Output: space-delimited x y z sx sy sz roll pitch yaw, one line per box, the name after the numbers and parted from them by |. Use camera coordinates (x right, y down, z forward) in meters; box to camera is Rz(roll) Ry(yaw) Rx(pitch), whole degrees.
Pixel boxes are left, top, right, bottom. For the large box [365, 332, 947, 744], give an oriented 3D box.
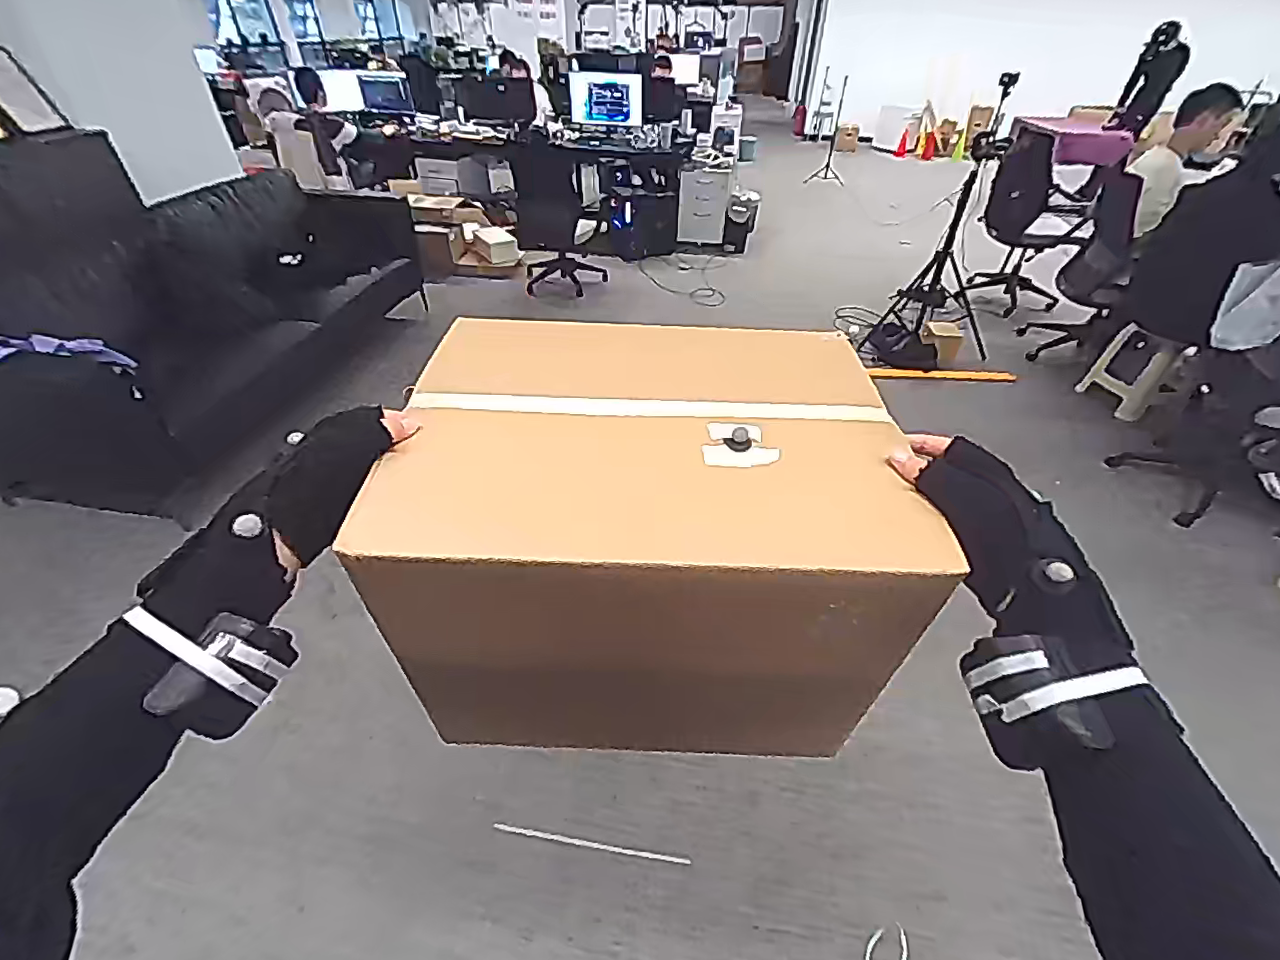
0.007 0.060 0.570 0.408 0.320 0.320 3 43 -1 | large box
